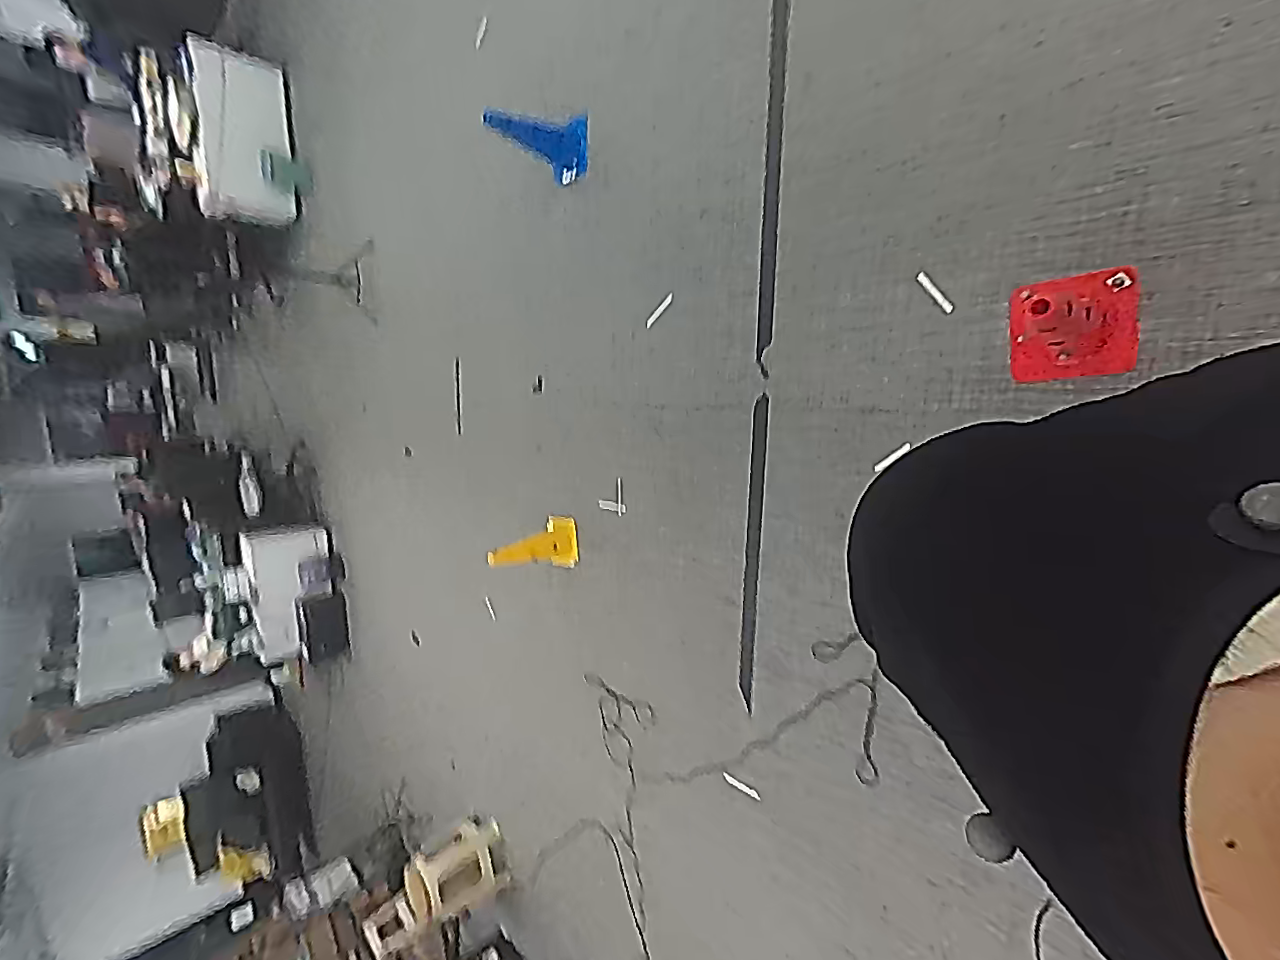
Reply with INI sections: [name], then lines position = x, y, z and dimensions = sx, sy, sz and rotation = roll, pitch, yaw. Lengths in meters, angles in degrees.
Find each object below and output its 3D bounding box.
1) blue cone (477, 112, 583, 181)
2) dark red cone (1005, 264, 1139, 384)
[blue cone]
position = -0.392, -1.227, 1.919
dimensions = 0.192, 0.380, 0.193
rotation = 11, 105, 45
[dark red cone]
position = 0.710, -0.275, 0.931
dimensions = 0.201, 0.394, 0.202
rotation = 0, 97, 46
